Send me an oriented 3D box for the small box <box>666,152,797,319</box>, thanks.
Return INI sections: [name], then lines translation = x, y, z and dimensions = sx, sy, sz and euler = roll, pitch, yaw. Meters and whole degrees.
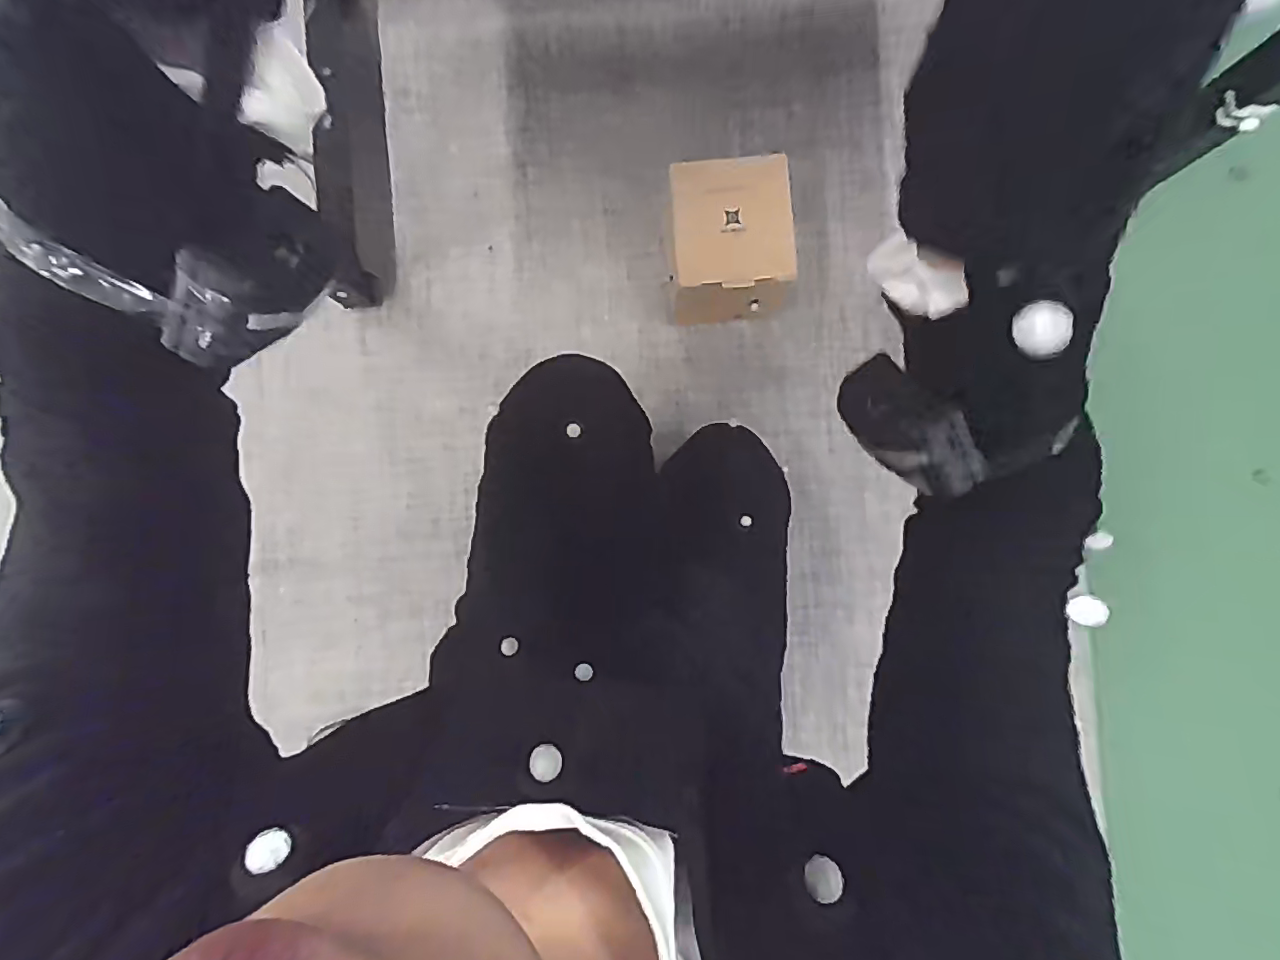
[small box]
translation = 0.129, -0.356, 0.821
dimensions = 0.168, 0.176, 0.179
euler = -5, 86, 0
